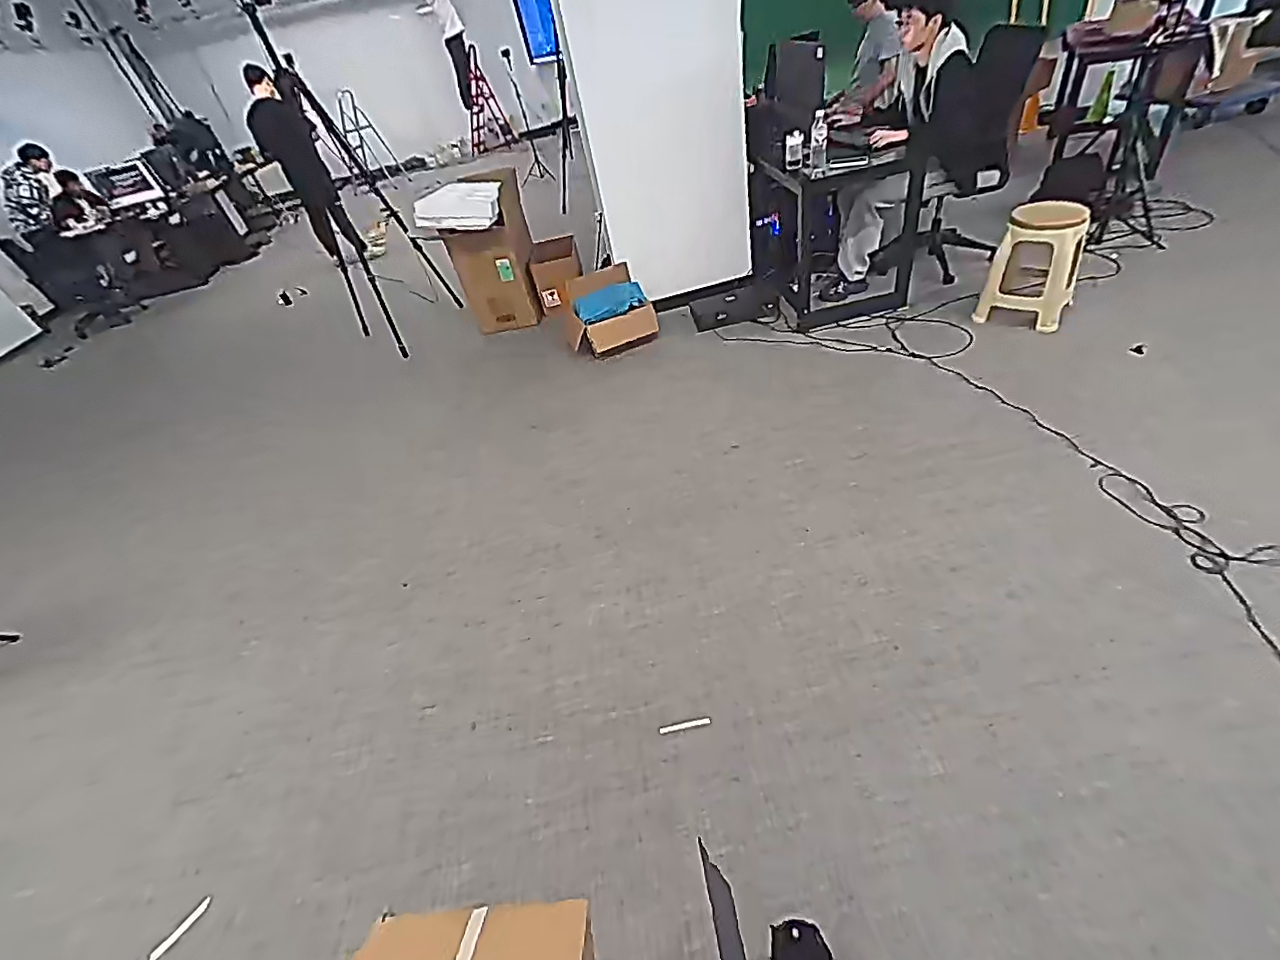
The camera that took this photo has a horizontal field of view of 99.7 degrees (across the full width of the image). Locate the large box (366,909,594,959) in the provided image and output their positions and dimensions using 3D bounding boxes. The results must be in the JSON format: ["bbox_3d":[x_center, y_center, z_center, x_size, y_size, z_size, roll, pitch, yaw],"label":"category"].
[{"bbox_3d":[-0.210,0.797,0.597,0.320,0.320,0.408,-4,3,1],"label":"large box"}]
